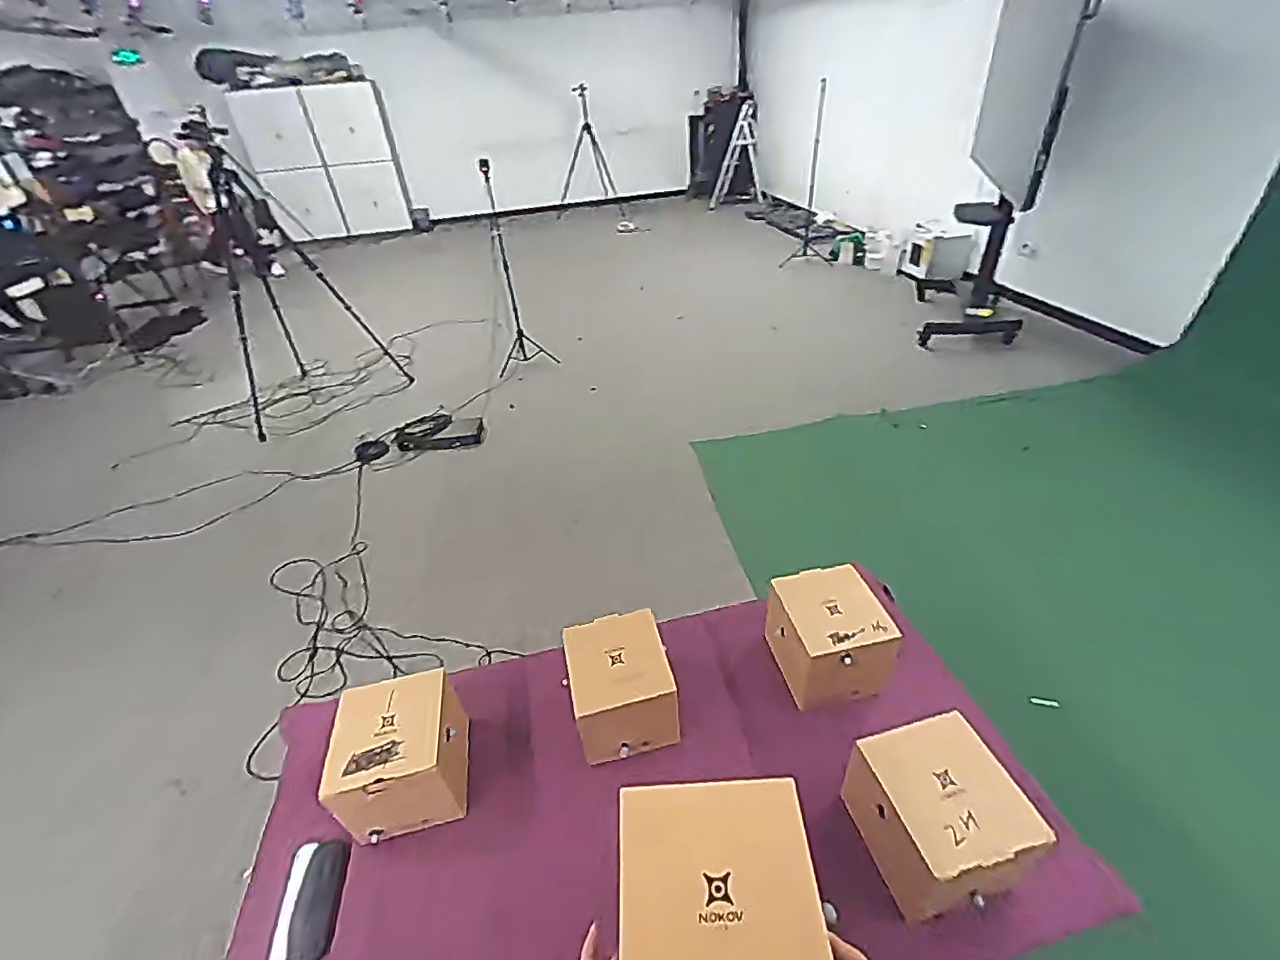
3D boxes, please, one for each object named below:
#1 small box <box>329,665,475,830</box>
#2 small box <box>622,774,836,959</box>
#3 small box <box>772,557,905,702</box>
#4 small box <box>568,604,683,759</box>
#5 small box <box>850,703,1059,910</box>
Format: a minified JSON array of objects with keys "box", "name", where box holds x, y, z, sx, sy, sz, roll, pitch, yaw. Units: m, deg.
[{"box":[-0.375,0.443,0.889,0.168,0.176,0.179,-12,37,-7],"name":"small box"},{"box":[0.073,0.396,0.497,0.168,0.176,0.179,-5,43,3],"name":"small box"},{"box":[0.351,0.275,1.000,0.168,0.176,0.179,-12,37,-5],"name":"small box"},{"box":[-0.026,0.354,0.956,0.168,0.176,0.179,-13,38,-7],"name":"small box"},{"box":[0.416,0.451,0.754,0.168,0.176,0.179,-14,38,-6],"name":"small box"}]
